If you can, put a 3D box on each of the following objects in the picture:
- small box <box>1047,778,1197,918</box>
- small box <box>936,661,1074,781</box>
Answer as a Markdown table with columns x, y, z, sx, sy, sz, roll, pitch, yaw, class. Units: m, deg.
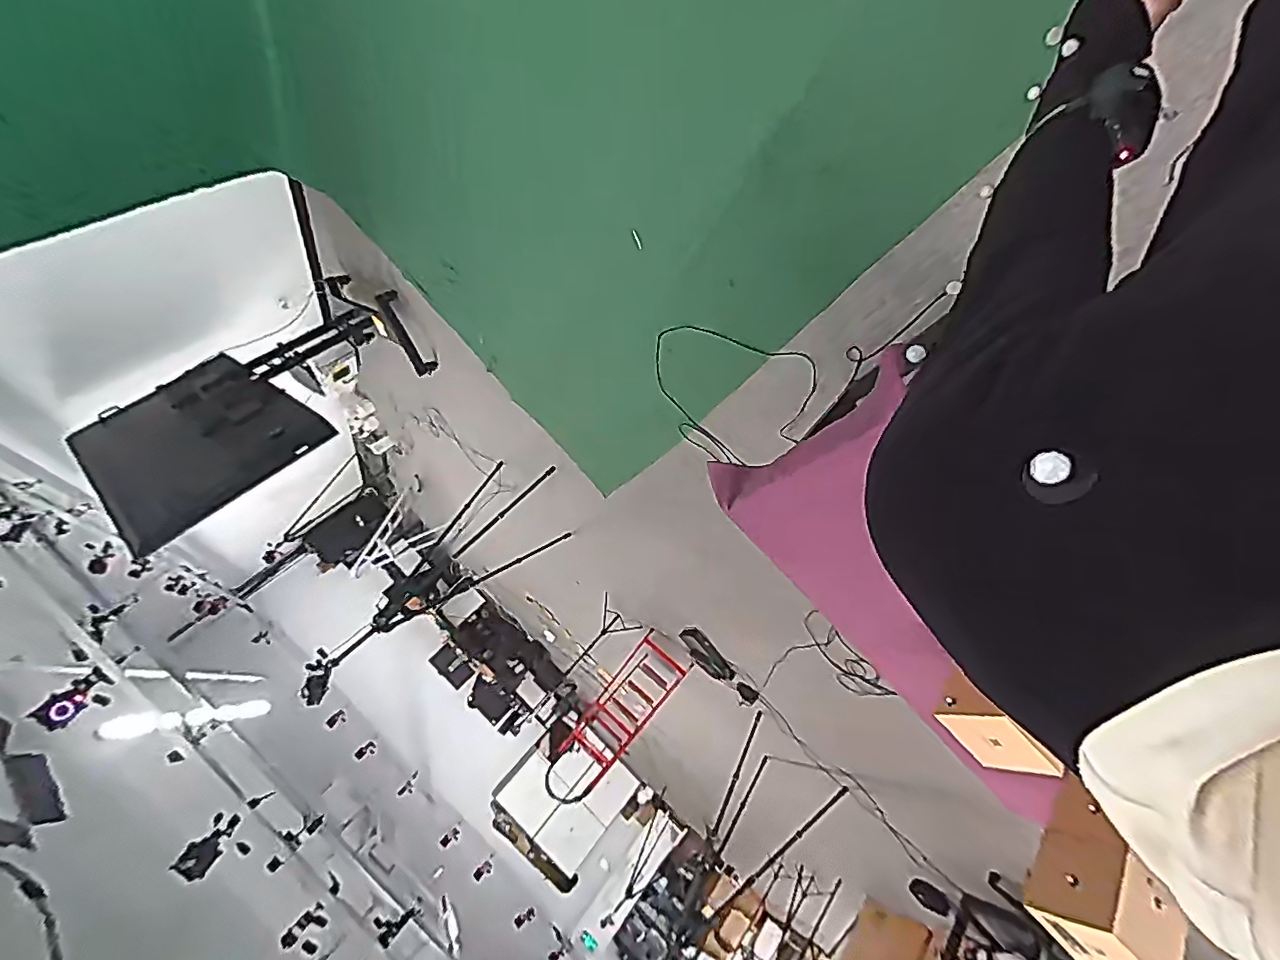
| x | y | z | sx | sy | sz | roll | pitch | yaw | class |
| --- | --- | --- | --- | --- | --- | --- | --- | --- | --- |
| 1.032 | 0.771 | 1.158 | 0.168 | 0.176 | 0.179 | 46 | 149 | 1 | small box |
| 0.786 | 0.508 | 1.160 | 0.168 | 0.176 | 0.179 | 46 | 150 | 1 | small box |
